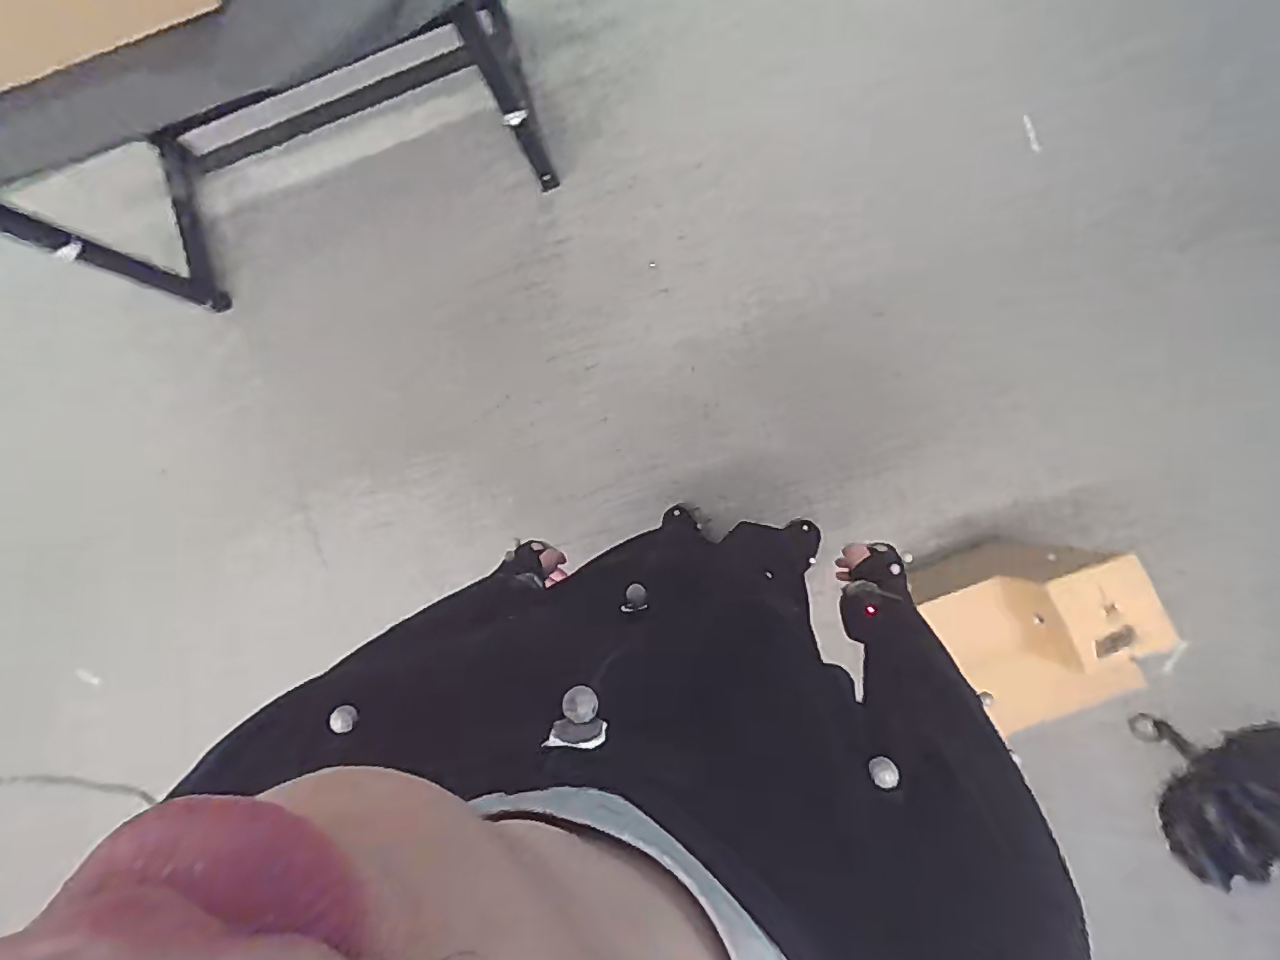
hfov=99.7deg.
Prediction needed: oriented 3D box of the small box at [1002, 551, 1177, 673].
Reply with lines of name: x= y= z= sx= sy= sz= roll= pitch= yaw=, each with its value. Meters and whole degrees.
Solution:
small box: x=0.855 y=0.246 z=1.049 sx=0.168 sy=0.176 sz=0.179 roll=-21 pitch=82 yaw=6
